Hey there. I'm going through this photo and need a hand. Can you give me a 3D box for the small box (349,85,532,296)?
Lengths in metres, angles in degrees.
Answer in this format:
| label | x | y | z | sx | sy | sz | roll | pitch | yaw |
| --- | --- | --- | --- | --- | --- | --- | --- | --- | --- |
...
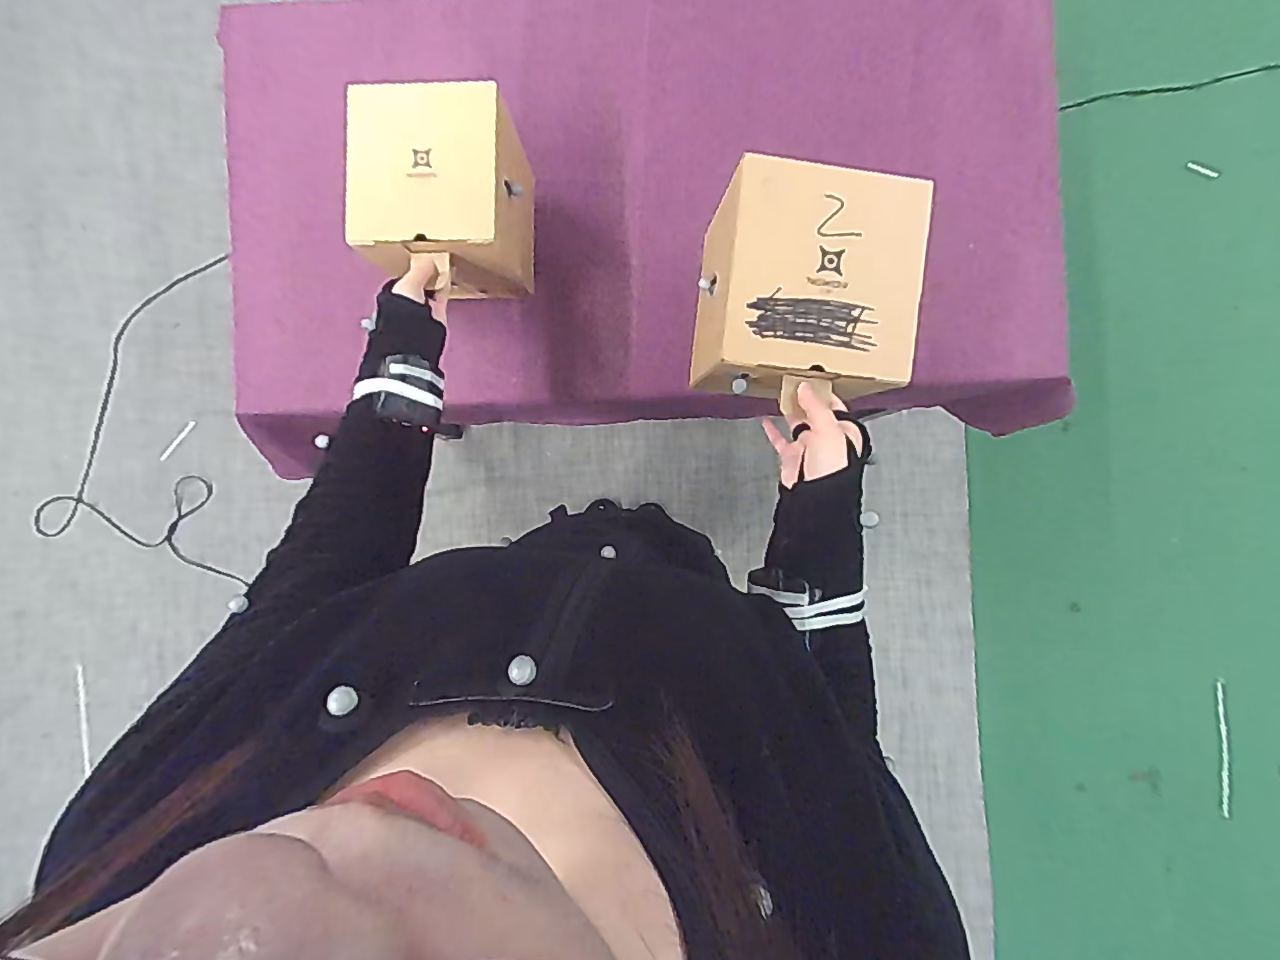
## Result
| label | x | y | z | sx | sy | sz | roll | pitch | yaw |
| --- | --- | --- | --- | --- | --- | --- | --- | --- | --- |
| small box | -0.234 | -0.345 | 0.672 | 0.168 | 0.176 | 0.179 | 0 | 90 | 2 |
